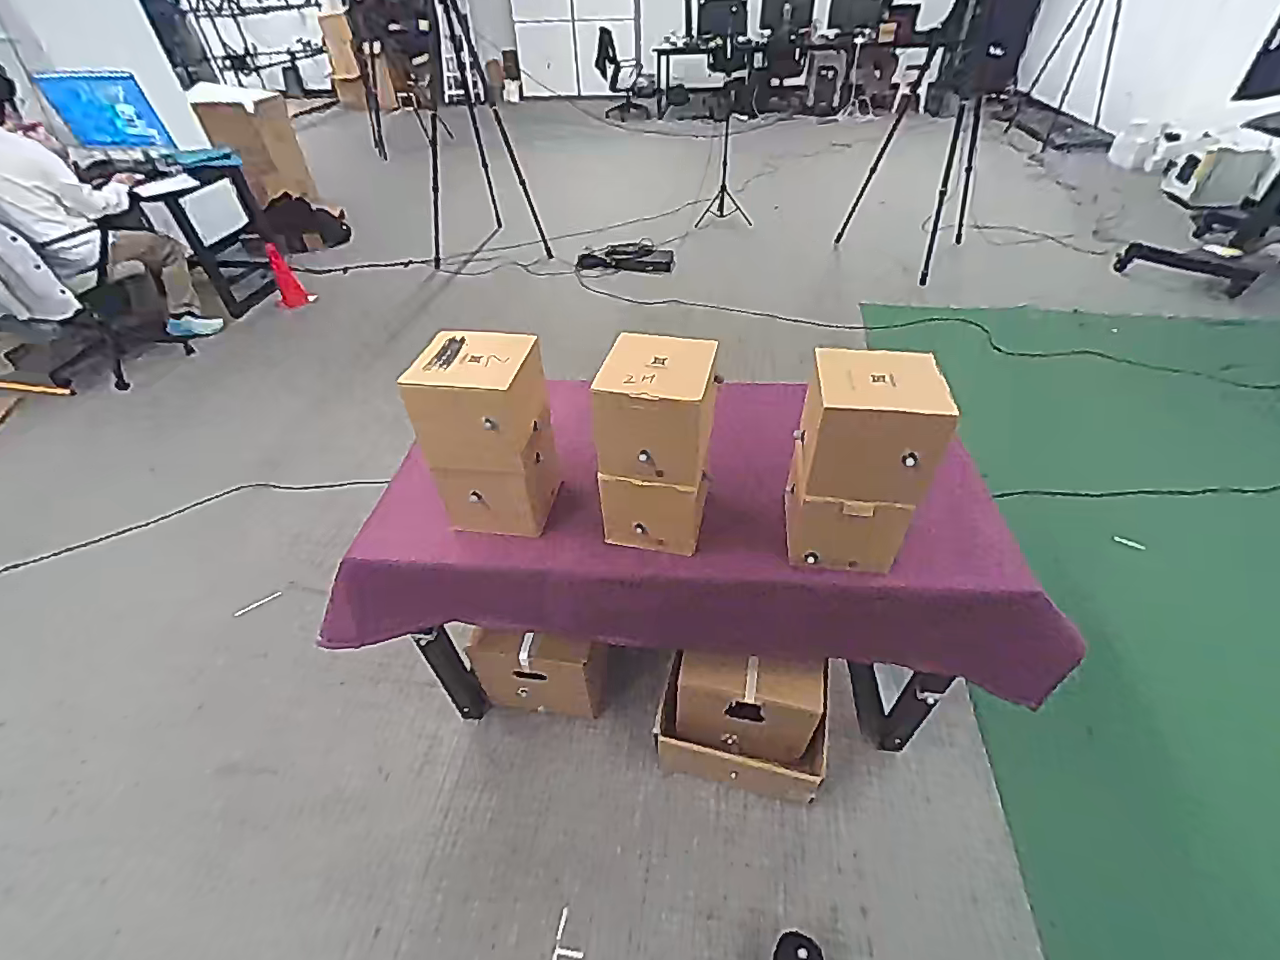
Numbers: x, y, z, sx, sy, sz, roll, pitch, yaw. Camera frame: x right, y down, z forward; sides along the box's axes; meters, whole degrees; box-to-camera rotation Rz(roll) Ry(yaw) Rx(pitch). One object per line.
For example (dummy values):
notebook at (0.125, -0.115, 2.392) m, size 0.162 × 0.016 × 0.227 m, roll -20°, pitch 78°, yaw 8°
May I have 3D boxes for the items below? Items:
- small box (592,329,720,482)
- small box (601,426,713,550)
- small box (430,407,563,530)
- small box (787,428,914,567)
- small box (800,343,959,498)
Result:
small box at (0.032, -0.123, 0.881) m, size 0.168 × 0.176 × 0.179 m, roll 8°, pitch 46°, yaw 13°
small box at (0.035, 0.000, 0.990) m, size 0.168 × 0.176 × 0.179 m, roll 8°, pitch 46°, yaw 11°
small box at (-0.260, -0.020, 1.025) m, size 0.179 × 0.176 × 0.168 m, roll 4°, pitch 45°, yaw 8°
small box at (0.351, 0.030, 0.938) m, size 0.168 × 0.176 × 0.179 m, roll 4°, pitch 43°, yaw 8°
small box at (0.349, -0.089, 0.827) m, size 0.179 × 0.176 × 0.168 m, roll 5°, pitch 43°, yaw 9°
